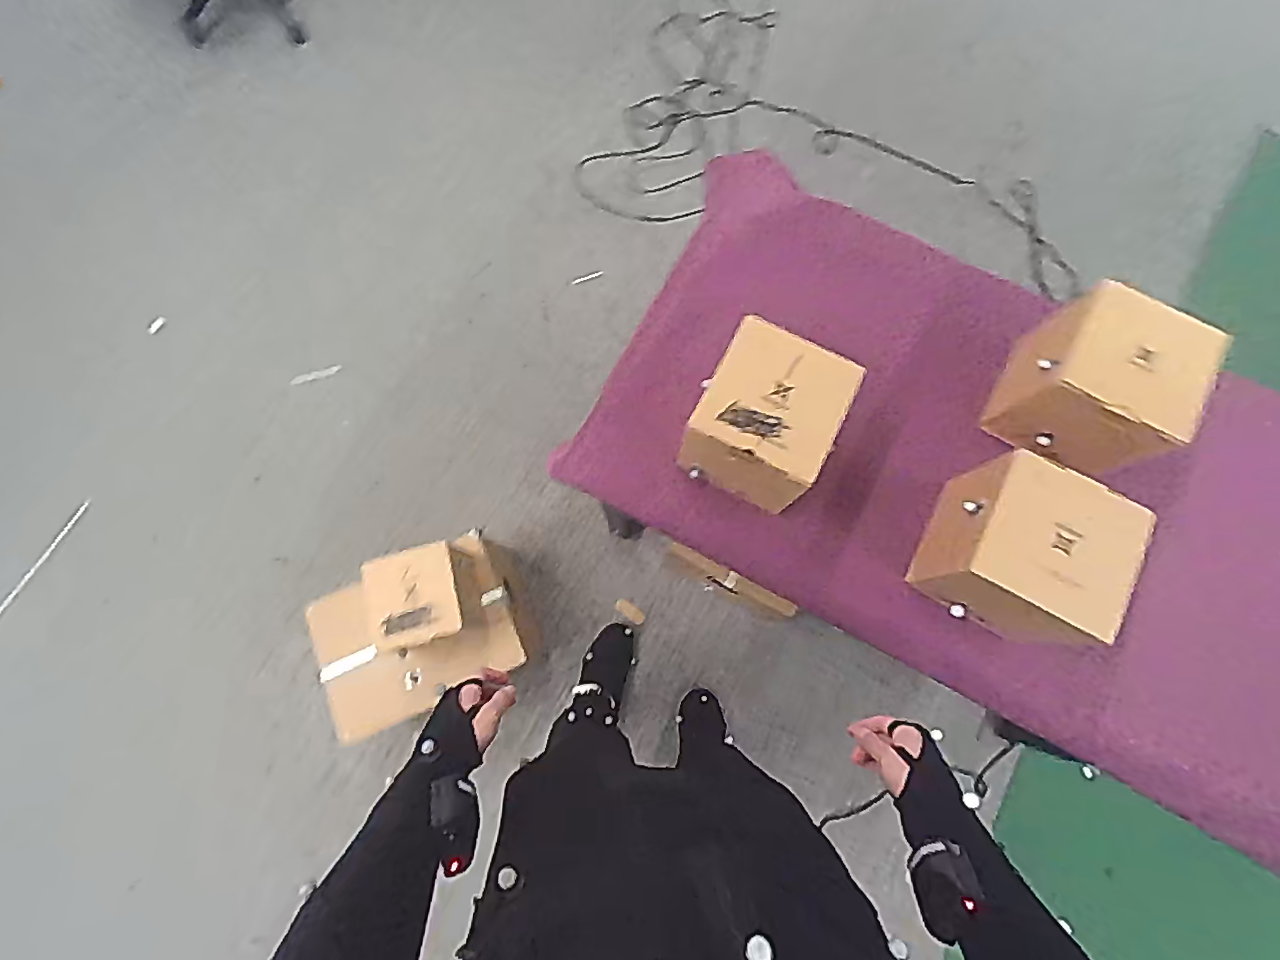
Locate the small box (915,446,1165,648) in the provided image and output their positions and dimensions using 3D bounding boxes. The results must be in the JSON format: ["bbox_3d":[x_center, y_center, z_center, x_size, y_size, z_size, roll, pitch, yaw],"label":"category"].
[{"bbox_3d":[0.485,0.090,0.683,0.168,0.176,0.179,30,77,9],"label":"small box"}]

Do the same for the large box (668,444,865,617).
[{"bbox_3d":[0.297,0.094,1.368,0.320,0.320,0.408,29,76,7],"label":"large box"}]

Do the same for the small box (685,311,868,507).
[{"bbox_3d":[0.170,-0.083,0.729,0.168,0.176,0.179,28,76,7],"label":"small box"}]

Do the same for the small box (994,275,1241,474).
[{"bbox_3d":[0.634,-0.134,0.742,0.168,0.176,0.179,31,79,7],"label":"small box"}]
